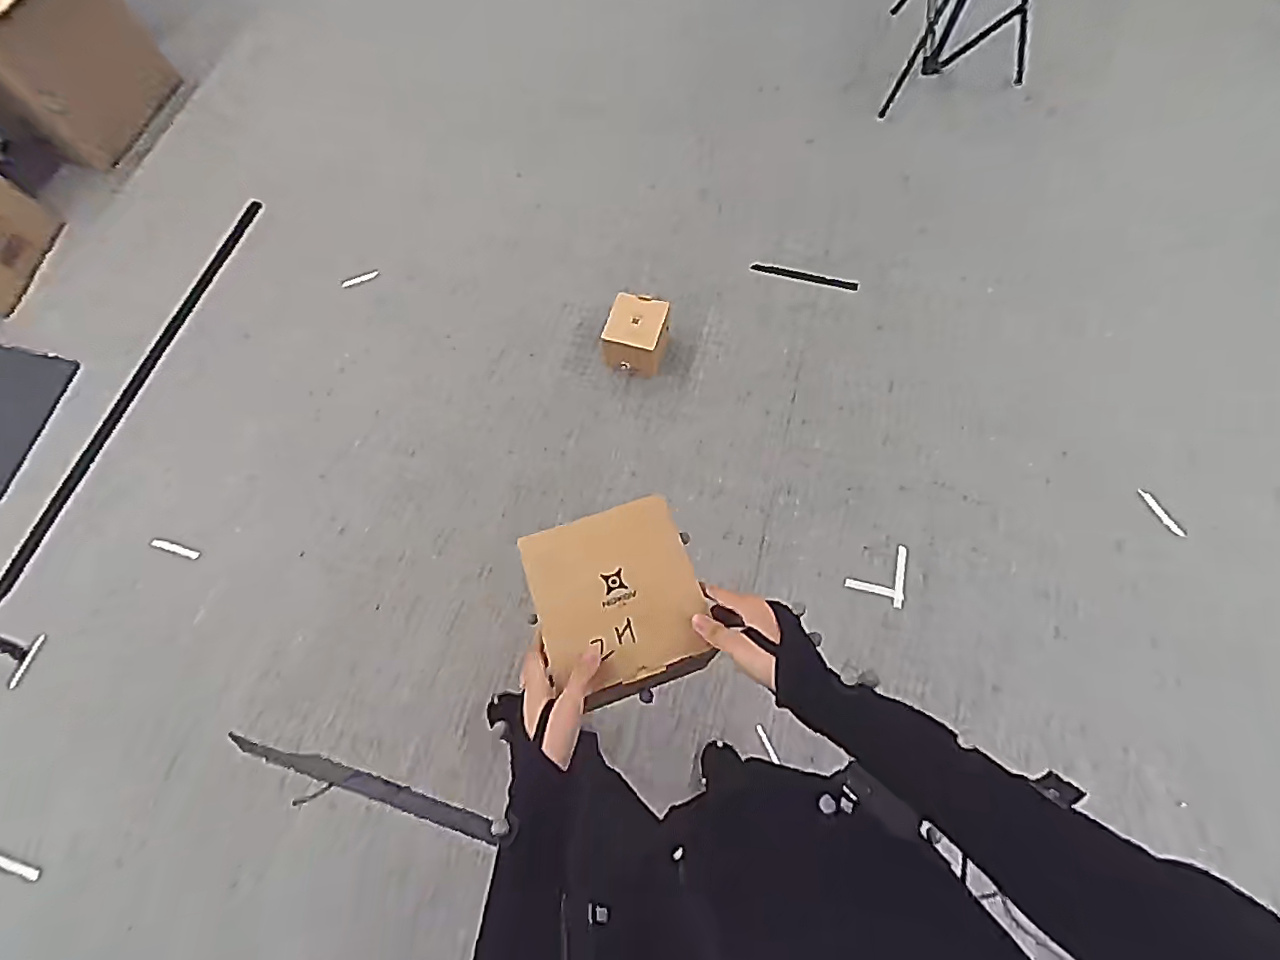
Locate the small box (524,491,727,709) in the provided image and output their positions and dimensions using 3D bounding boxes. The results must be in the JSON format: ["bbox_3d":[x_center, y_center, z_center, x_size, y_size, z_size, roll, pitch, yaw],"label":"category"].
[{"bbox_3d":[-0.020,0.140,0.605,0.168,0.176,0.179,-17,66,-7],"label":"small box"}]

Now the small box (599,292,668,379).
[{"bbox_3d":[-0.016,-0.442,1.668,0.168,0.176,0.179,15,72,8],"label":"small box"}]
